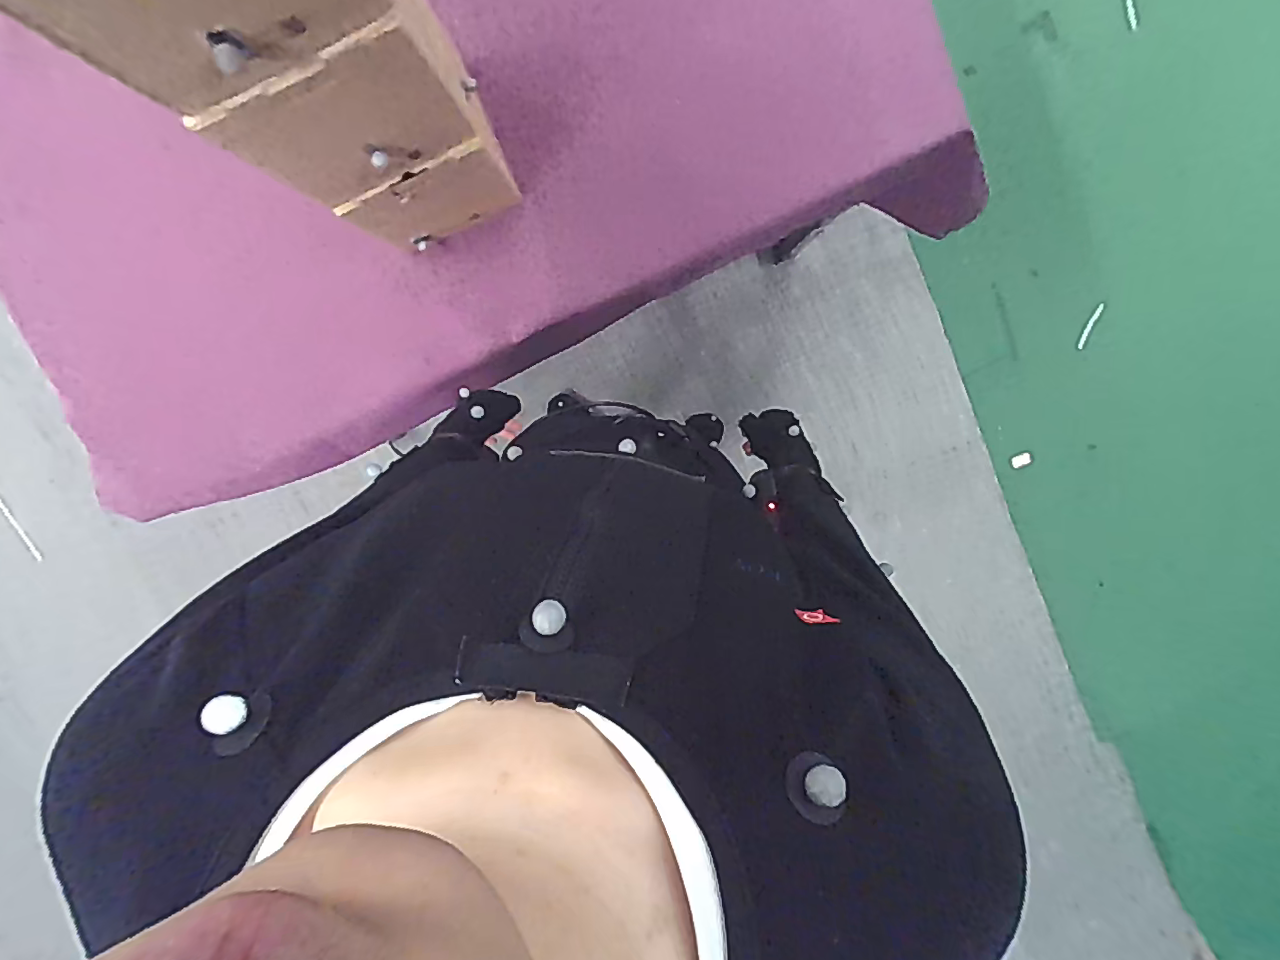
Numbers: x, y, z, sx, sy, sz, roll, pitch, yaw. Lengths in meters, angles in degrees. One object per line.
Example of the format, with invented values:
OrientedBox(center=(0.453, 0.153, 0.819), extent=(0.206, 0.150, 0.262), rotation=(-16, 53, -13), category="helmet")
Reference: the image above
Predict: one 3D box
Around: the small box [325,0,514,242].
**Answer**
OrientedBox(center=(-0.260, -0.386, 0.597), extent=(0.168, 0.176, 0.179), rotation=(-23, 98, 4), category="small box")

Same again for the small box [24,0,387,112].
OrientedBox(center=(-0.270, -0.342, 0.273), extent=(0.168, 0.176, 0.179), rotation=(-23, 99, 5), category="small box")

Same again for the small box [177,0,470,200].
OrientedBox(center=(-0.267, -0.365, 0.434), extent=(0.168, 0.176, 0.179), rotation=(-23, 99, 5), category="small box")

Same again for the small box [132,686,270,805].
OrientedBox(center=(-1.086, 0.657, 1.355), extent=(0.168, 0.176, 0.179), rotation=(-26, 98, 5), category="small box")
